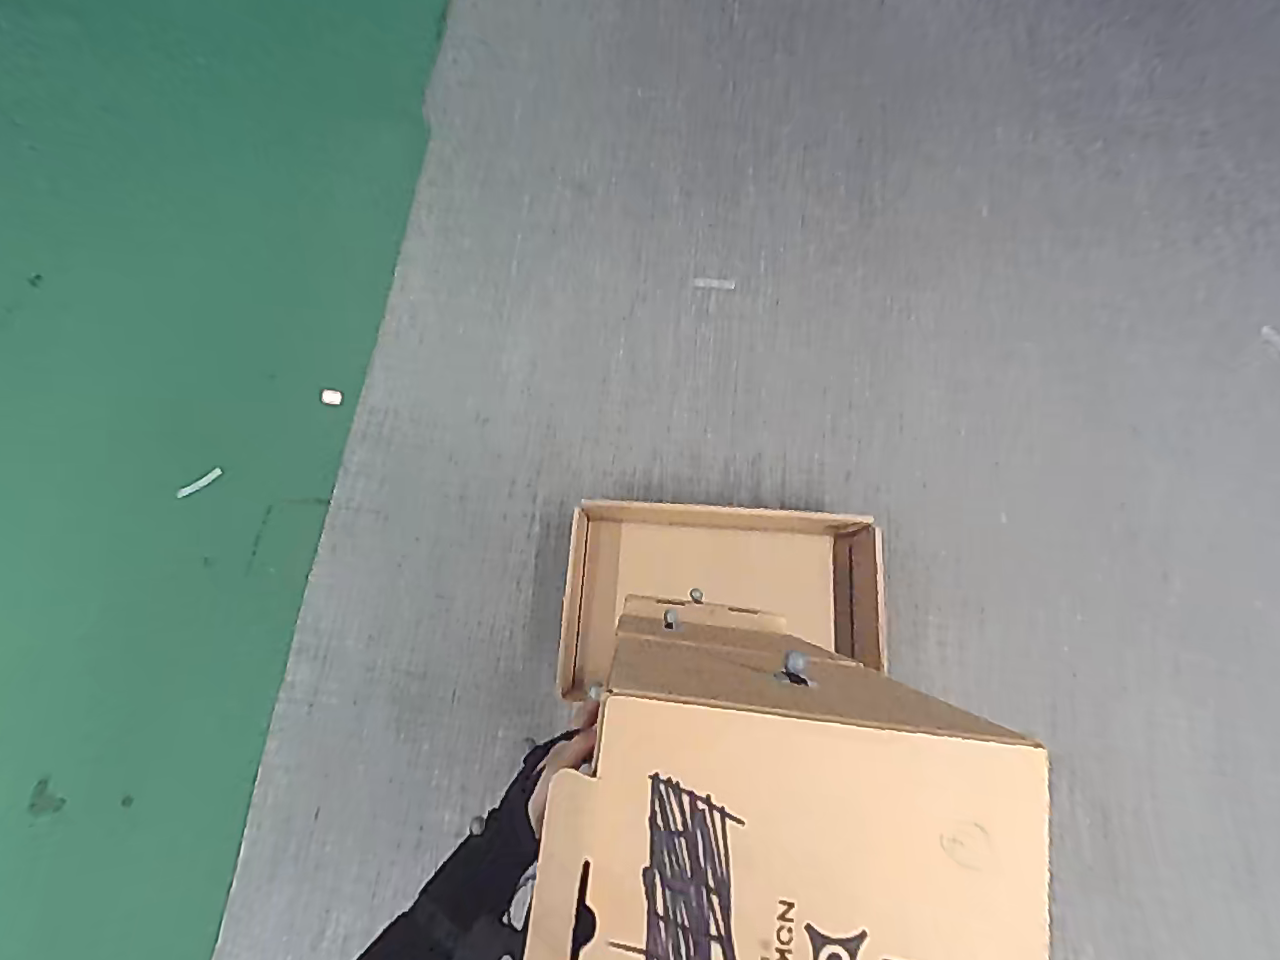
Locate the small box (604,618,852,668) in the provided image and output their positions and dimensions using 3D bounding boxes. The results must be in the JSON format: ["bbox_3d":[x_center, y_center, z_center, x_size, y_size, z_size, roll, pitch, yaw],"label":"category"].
[{"bbox_3d":[0.057,0.211,0.450,0.179,0.176,0.168,6,81,2],"label":"small box"}]

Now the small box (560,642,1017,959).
[{"bbox_3d":[0.059,0.186,0.289,0.179,0.176,0.168,6,81,1],"label":"small box"}]

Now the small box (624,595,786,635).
[{"bbox_3d":[0.059,0.229,0.613,0.168,0.176,0.179,6,78,1],"label":"small box"}]
